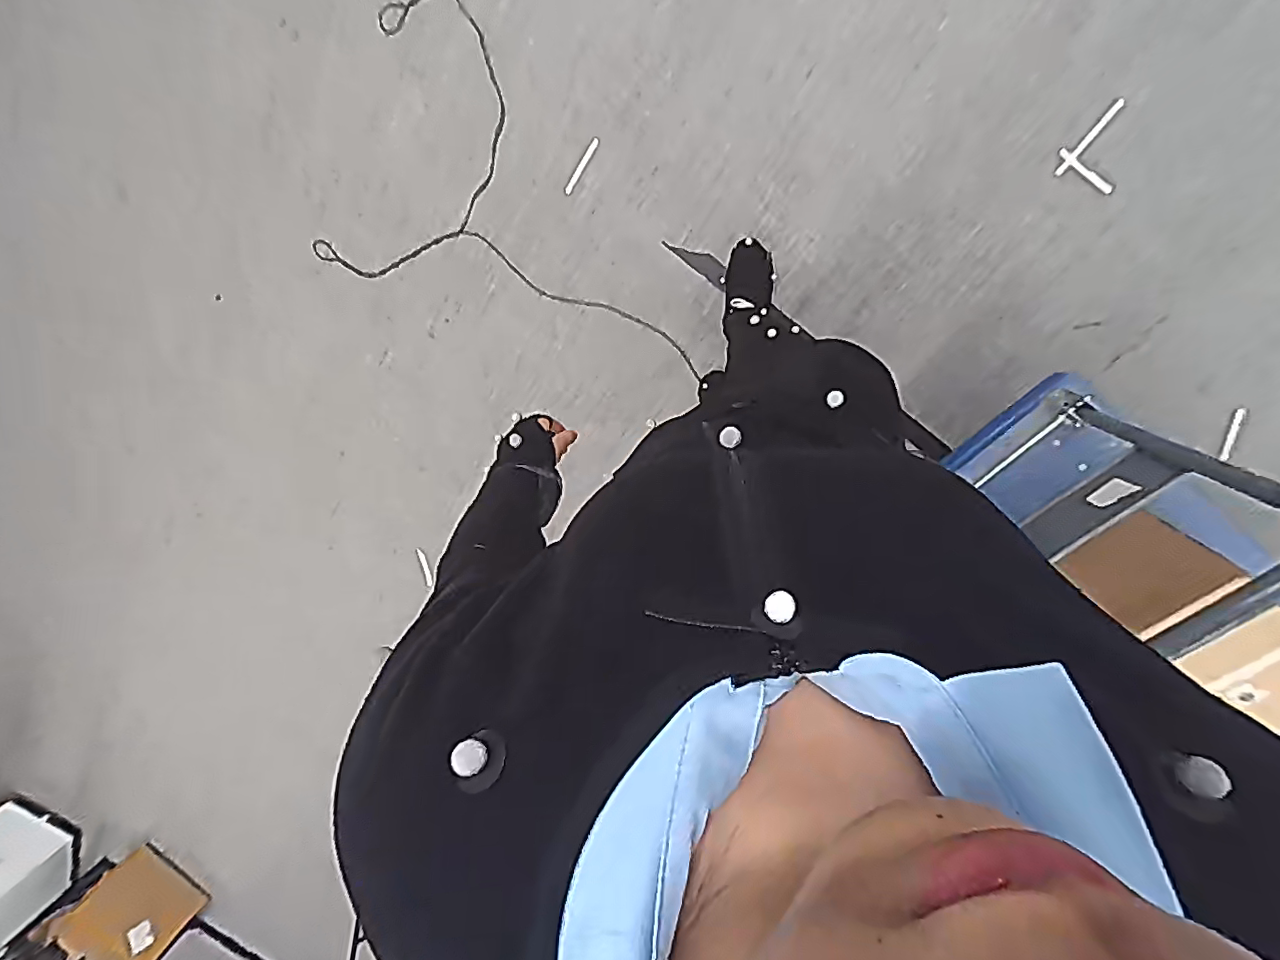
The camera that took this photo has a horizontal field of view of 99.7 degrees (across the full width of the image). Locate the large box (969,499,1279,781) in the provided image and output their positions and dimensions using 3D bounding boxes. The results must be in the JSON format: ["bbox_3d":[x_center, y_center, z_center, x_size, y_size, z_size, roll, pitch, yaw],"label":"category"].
[{"bbox_3d":[1.003,0.317,1.124,0.320,0.320,0.408,41,112,-4],"label":"large box"}]
